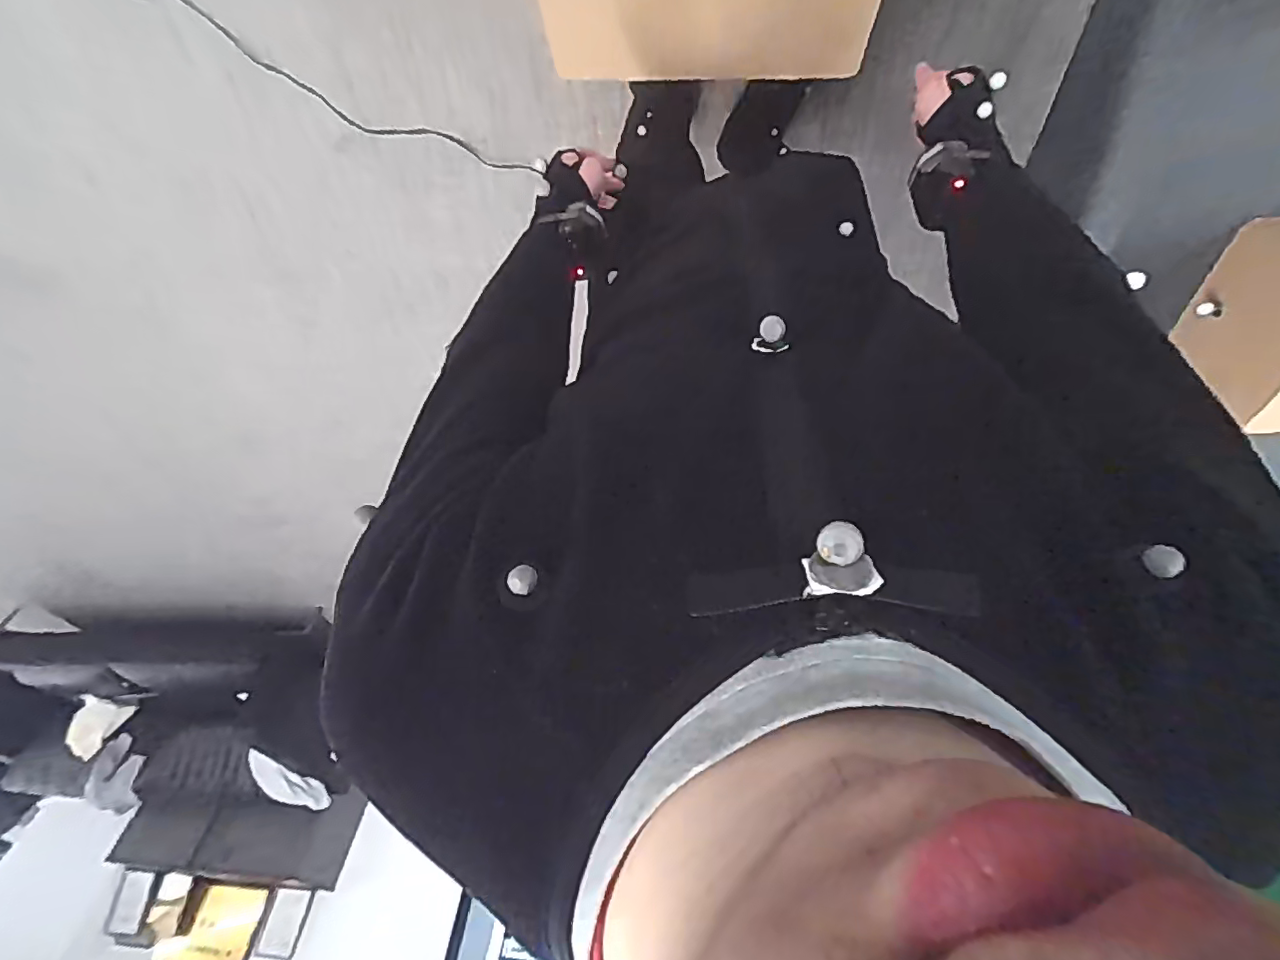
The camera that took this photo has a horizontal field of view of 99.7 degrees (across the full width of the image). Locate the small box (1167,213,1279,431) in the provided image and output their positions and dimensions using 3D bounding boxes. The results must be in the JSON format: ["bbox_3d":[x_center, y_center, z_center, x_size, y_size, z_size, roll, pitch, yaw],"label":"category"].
[{"bbox_3d":[0.746,-0.172,0.592,0.168,0.176,0.179,0,137,8],"label":"small box"}]
